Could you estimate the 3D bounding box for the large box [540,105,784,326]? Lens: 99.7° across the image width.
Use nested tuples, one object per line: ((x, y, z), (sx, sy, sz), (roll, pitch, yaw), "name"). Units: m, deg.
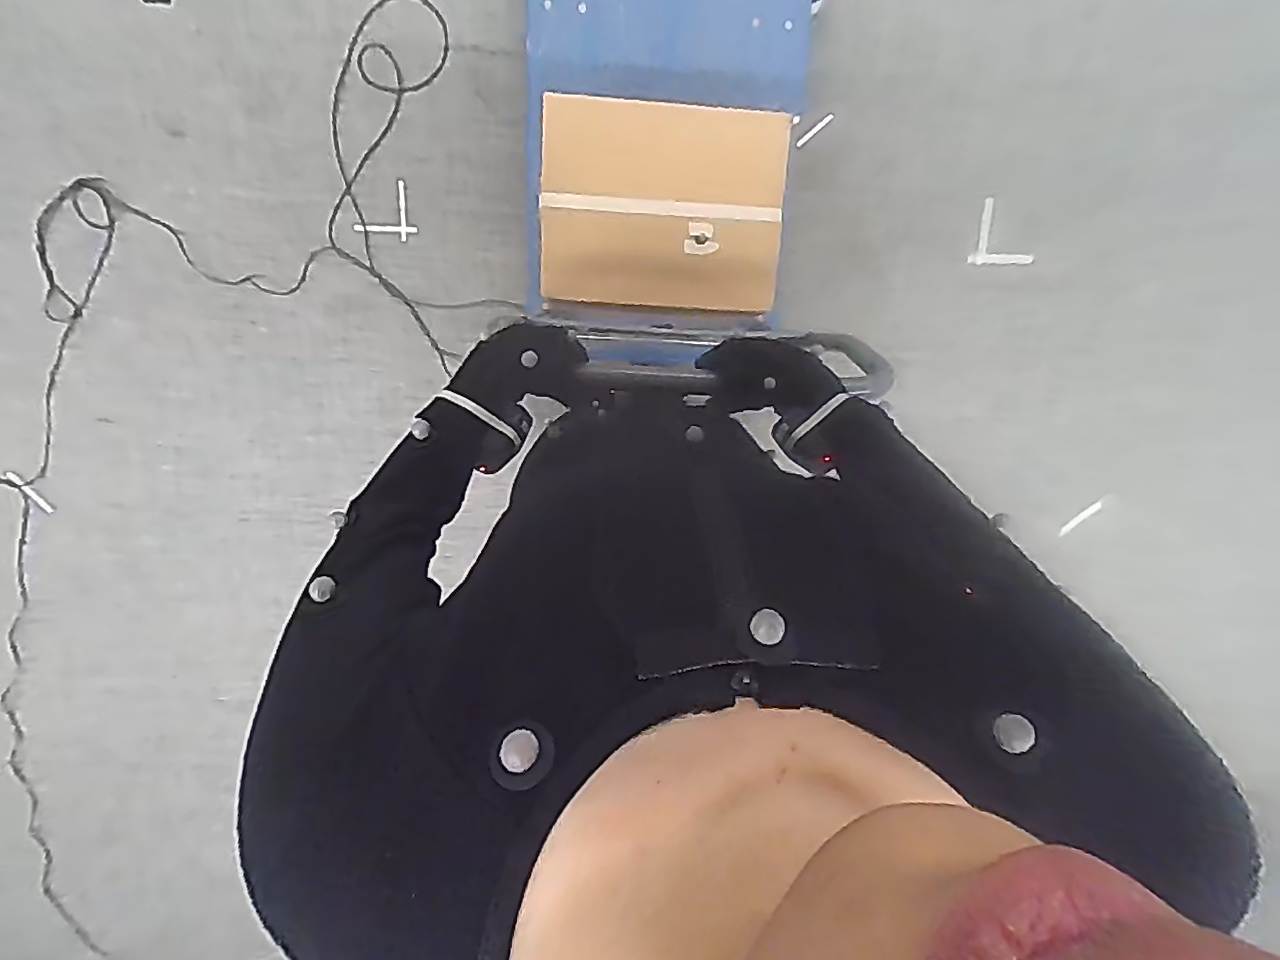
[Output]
((0.023, -0.474, 1.049), (0.408, 0.320, 0.320), (2, 103, -4), "large box")
